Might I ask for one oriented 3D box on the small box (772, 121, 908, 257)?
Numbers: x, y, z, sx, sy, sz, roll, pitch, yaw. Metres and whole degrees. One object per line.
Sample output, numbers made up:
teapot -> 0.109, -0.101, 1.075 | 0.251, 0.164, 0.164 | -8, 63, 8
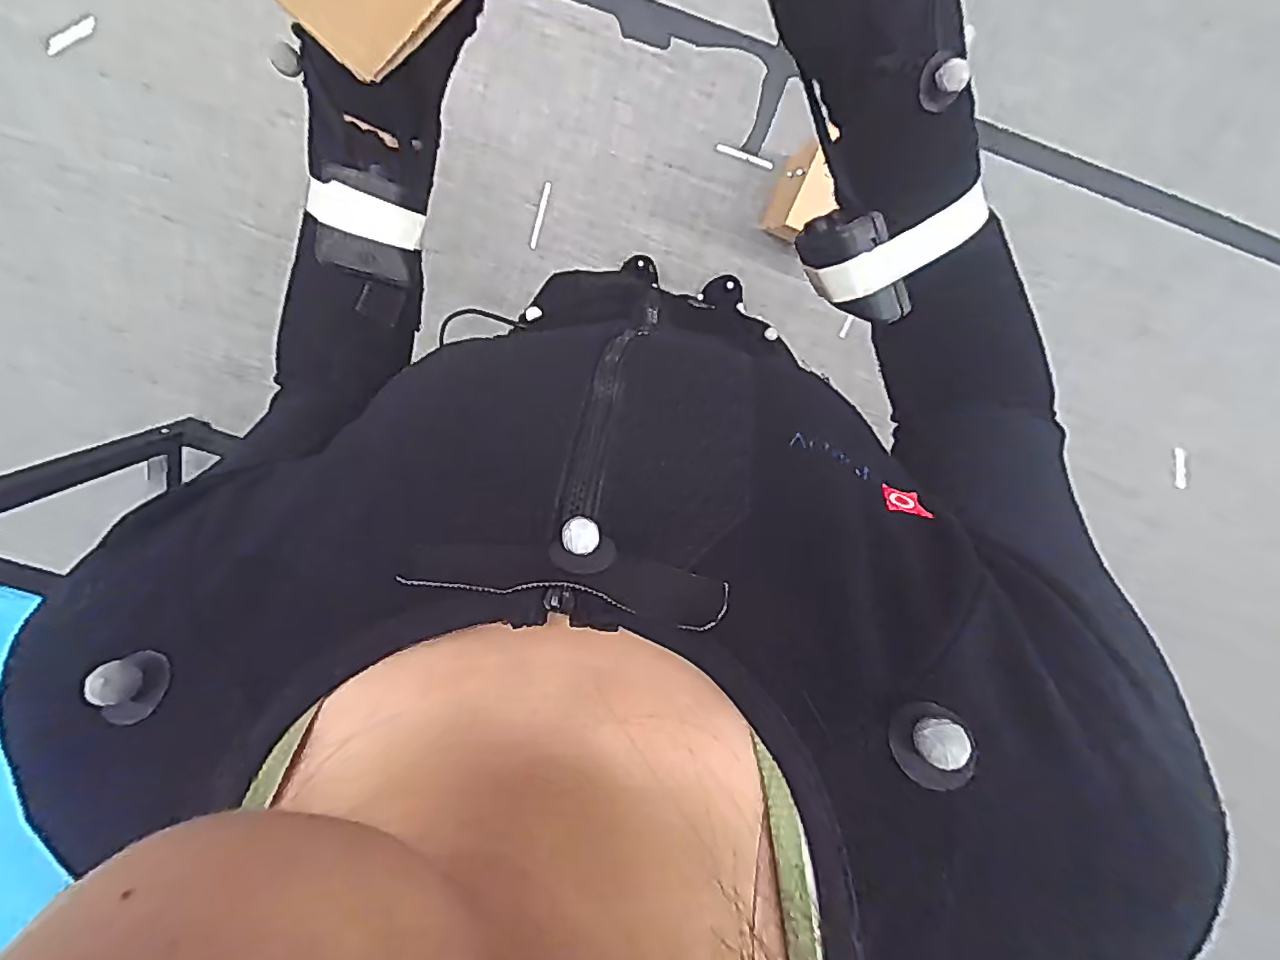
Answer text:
small box -> 0.373, -0.552, 1.052 | 0.168, 0.176, 0.179 | 22, 112, -5

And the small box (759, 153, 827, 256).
small box -> 0.388, -0.613, 1.202 | 0.179, 0.176, 0.168 | 21, 110, -8

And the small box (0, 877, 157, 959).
small box -> -1.138, 0.959, 1.090 | 0.179, 0.176, 0.168 | 22, 110, -7
